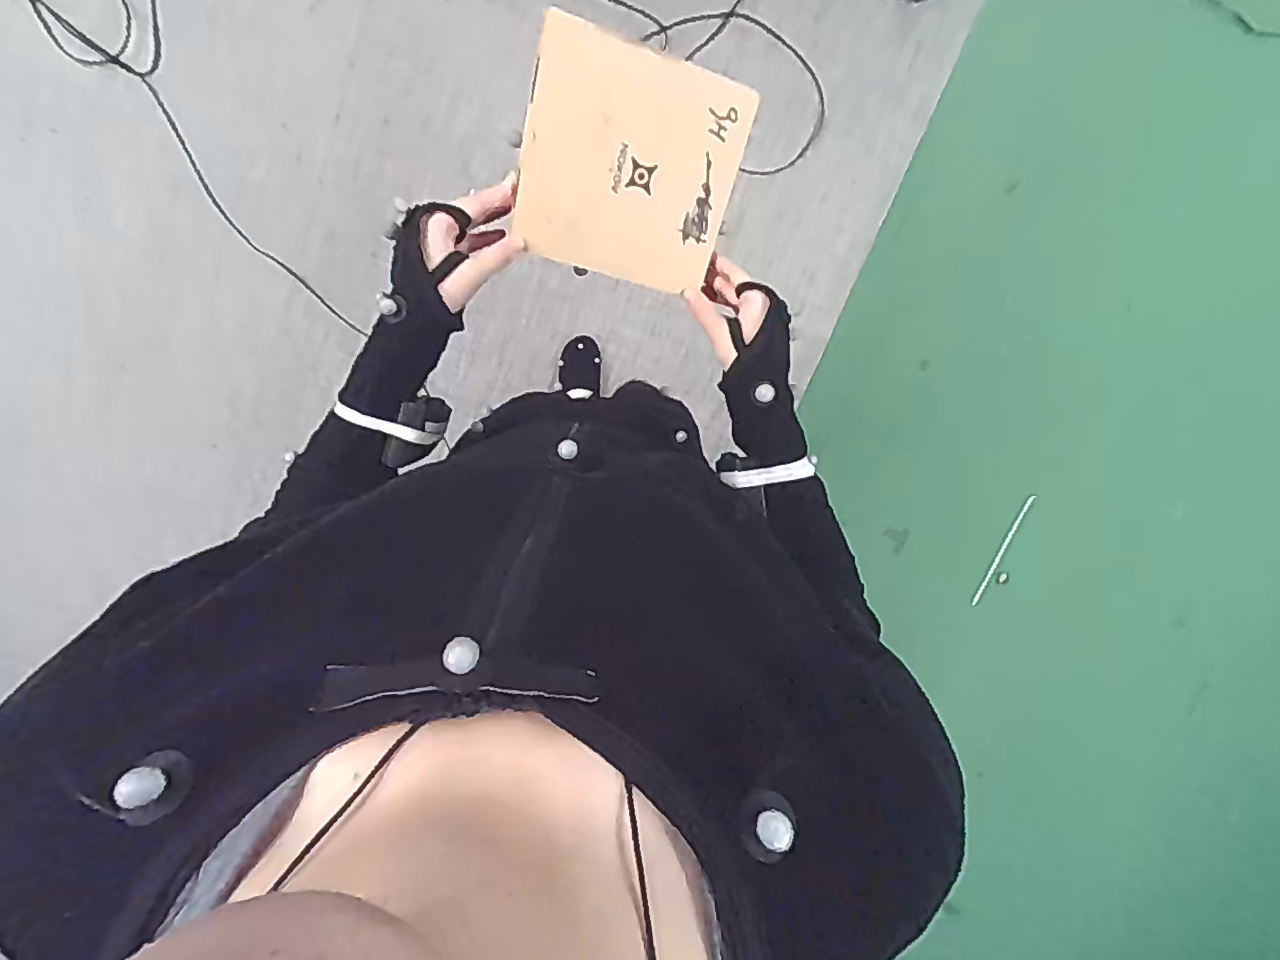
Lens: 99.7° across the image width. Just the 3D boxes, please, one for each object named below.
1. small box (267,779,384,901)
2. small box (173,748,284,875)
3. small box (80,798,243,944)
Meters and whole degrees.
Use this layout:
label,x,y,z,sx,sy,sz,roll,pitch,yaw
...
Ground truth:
label,x,y,z,sx,sy,sz,roll,pitch,yaw
small box,-0.768,0.882,1.340,0.179,0.176,0.168,21,99,-7
small box,-1.002,0.788,1.302,0.168,0.176,0.179,24,99,-8
small box,-0.995,0.815,1.143,0.179,0.176,0.168,25,98,-13
